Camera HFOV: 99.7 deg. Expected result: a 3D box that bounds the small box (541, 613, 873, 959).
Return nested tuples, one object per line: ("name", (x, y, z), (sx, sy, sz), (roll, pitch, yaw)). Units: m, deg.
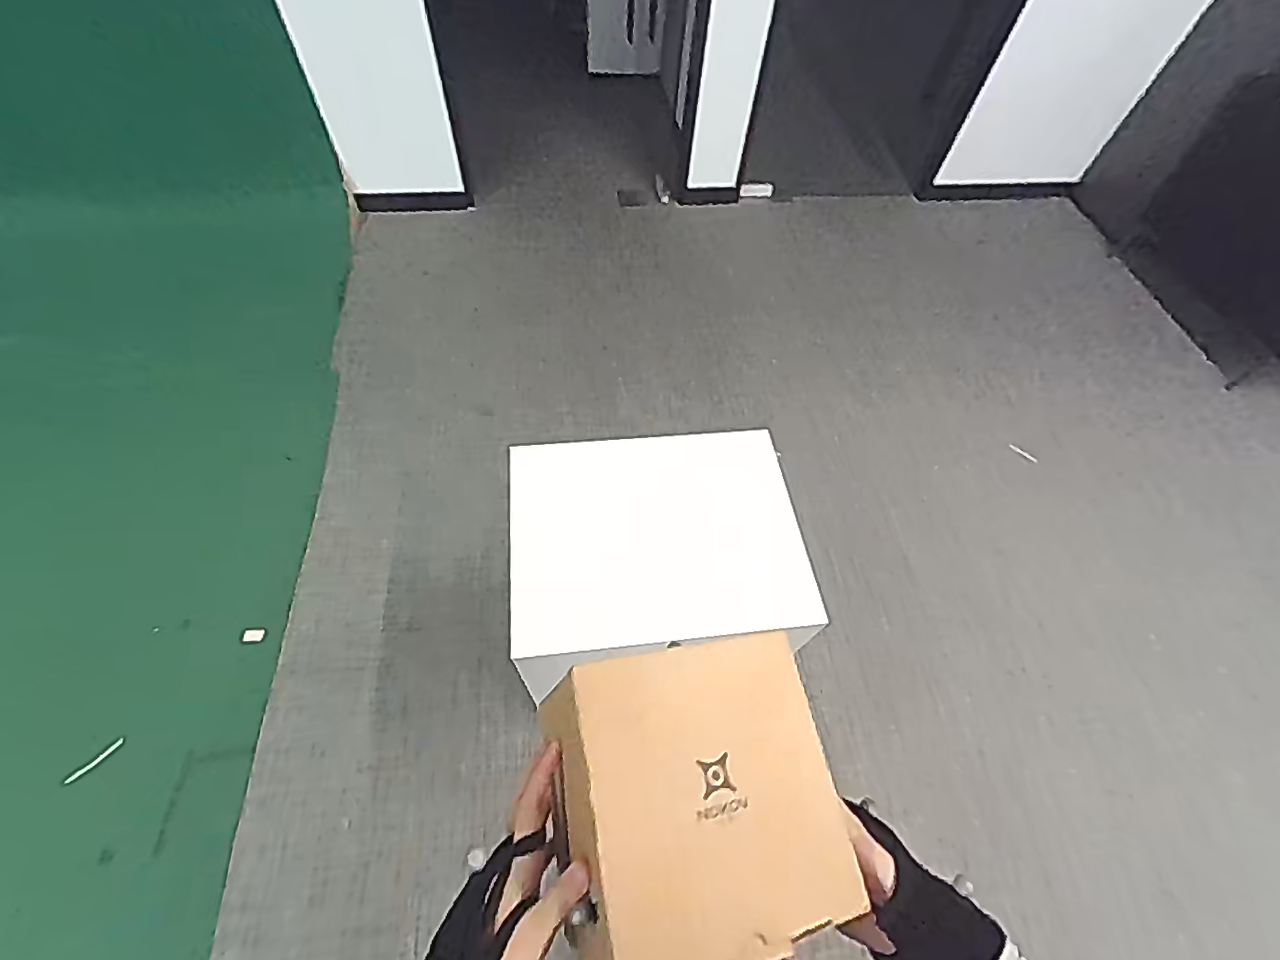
("small box", (0.026, 0.215, 0.402), (0.168, 0.176, 0.179), (-3, 63, -20))
